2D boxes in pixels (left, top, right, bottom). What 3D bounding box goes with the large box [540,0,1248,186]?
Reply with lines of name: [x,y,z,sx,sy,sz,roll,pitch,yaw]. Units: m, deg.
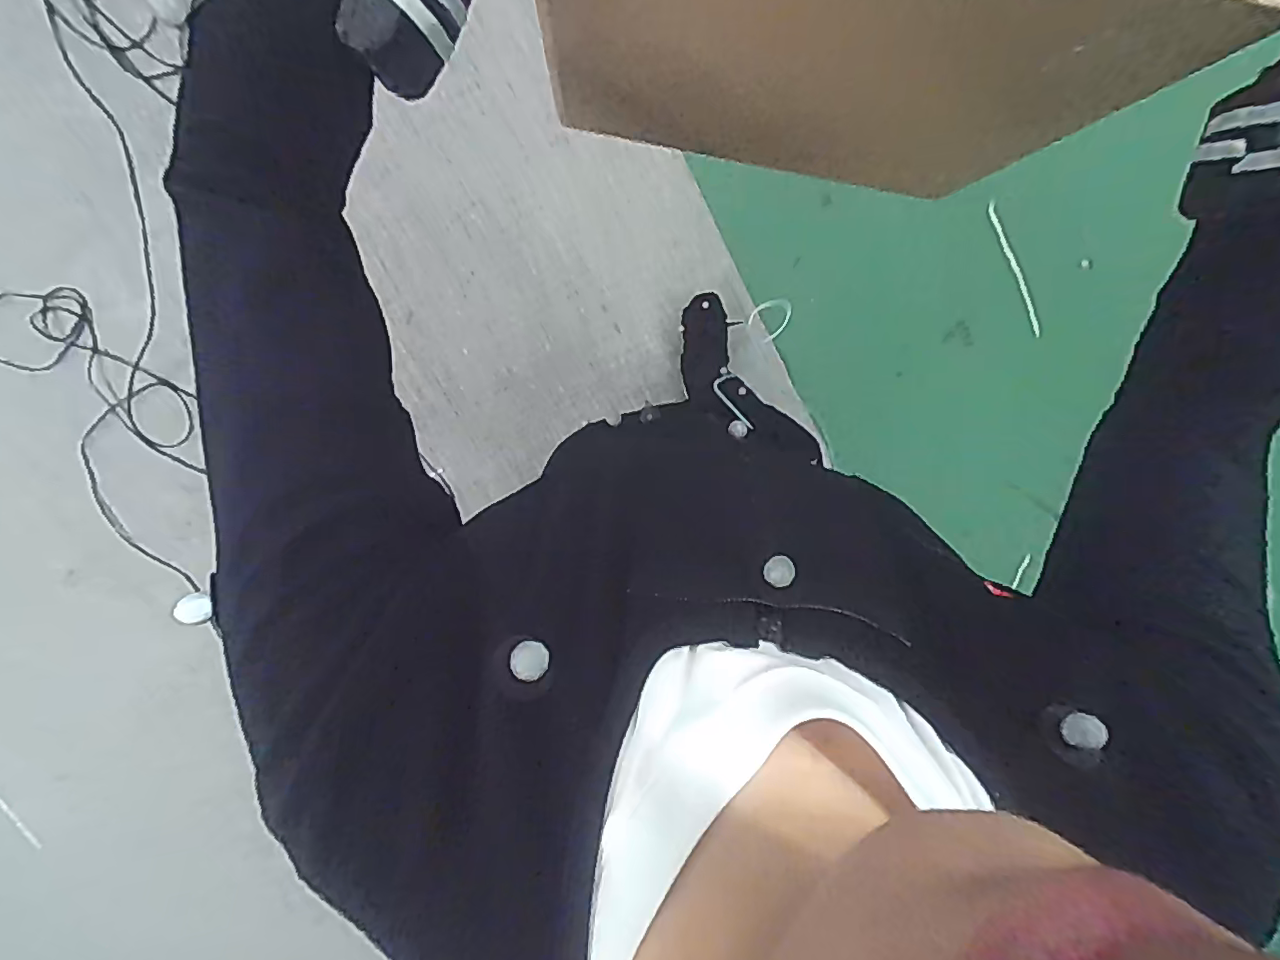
large box: [0.141,-0.451,0.384,0.408,0.320,0.320,7,101,-7]
